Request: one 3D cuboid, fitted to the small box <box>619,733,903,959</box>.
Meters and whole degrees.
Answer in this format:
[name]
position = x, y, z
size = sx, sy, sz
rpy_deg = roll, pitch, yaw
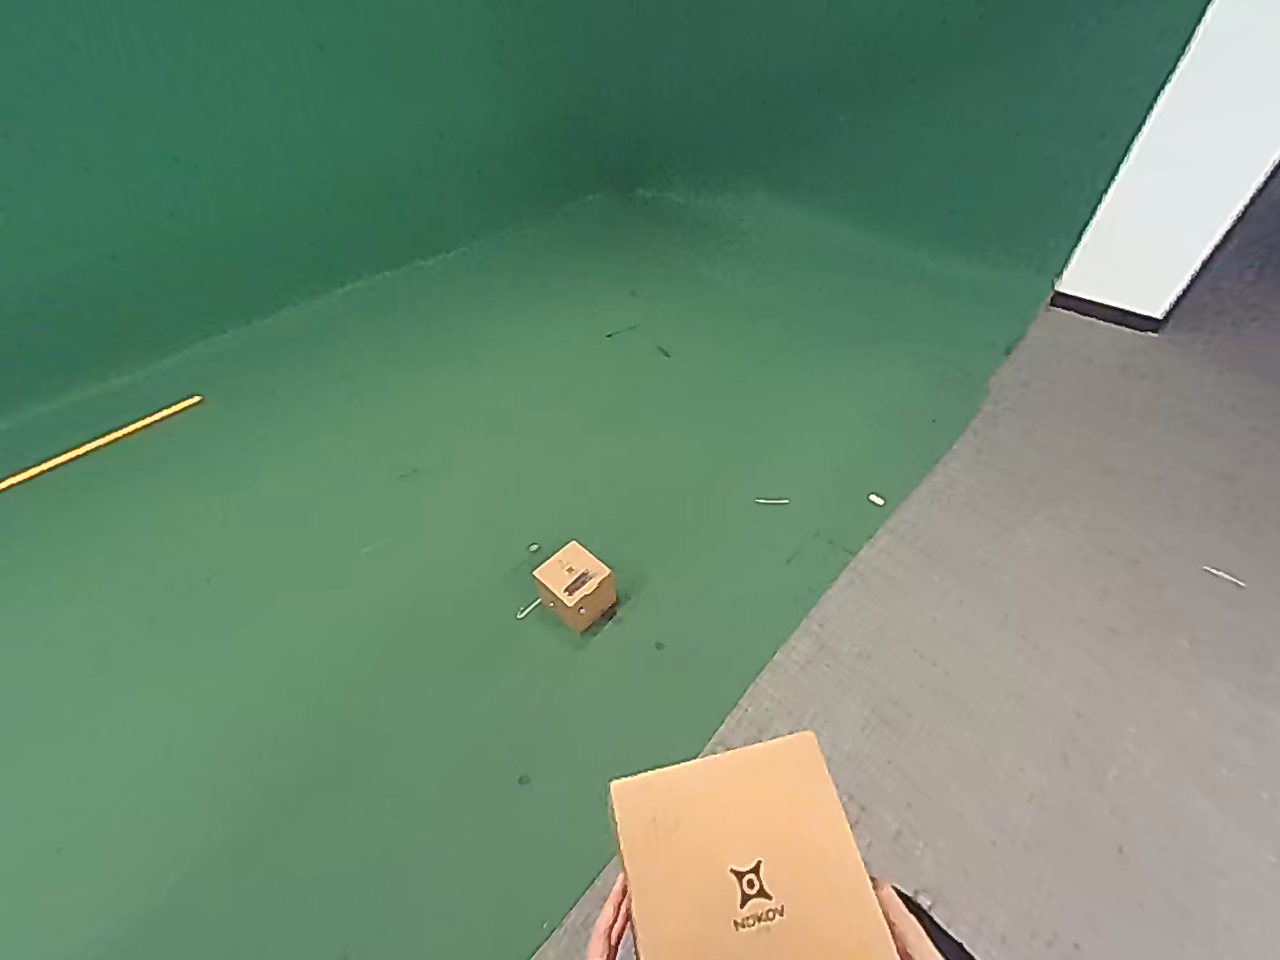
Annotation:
[small box]
position = 0.077, 0.328, 0.436
size = 0.168, 0.176, 0.179
rpy_deg = -10, 57, -9
